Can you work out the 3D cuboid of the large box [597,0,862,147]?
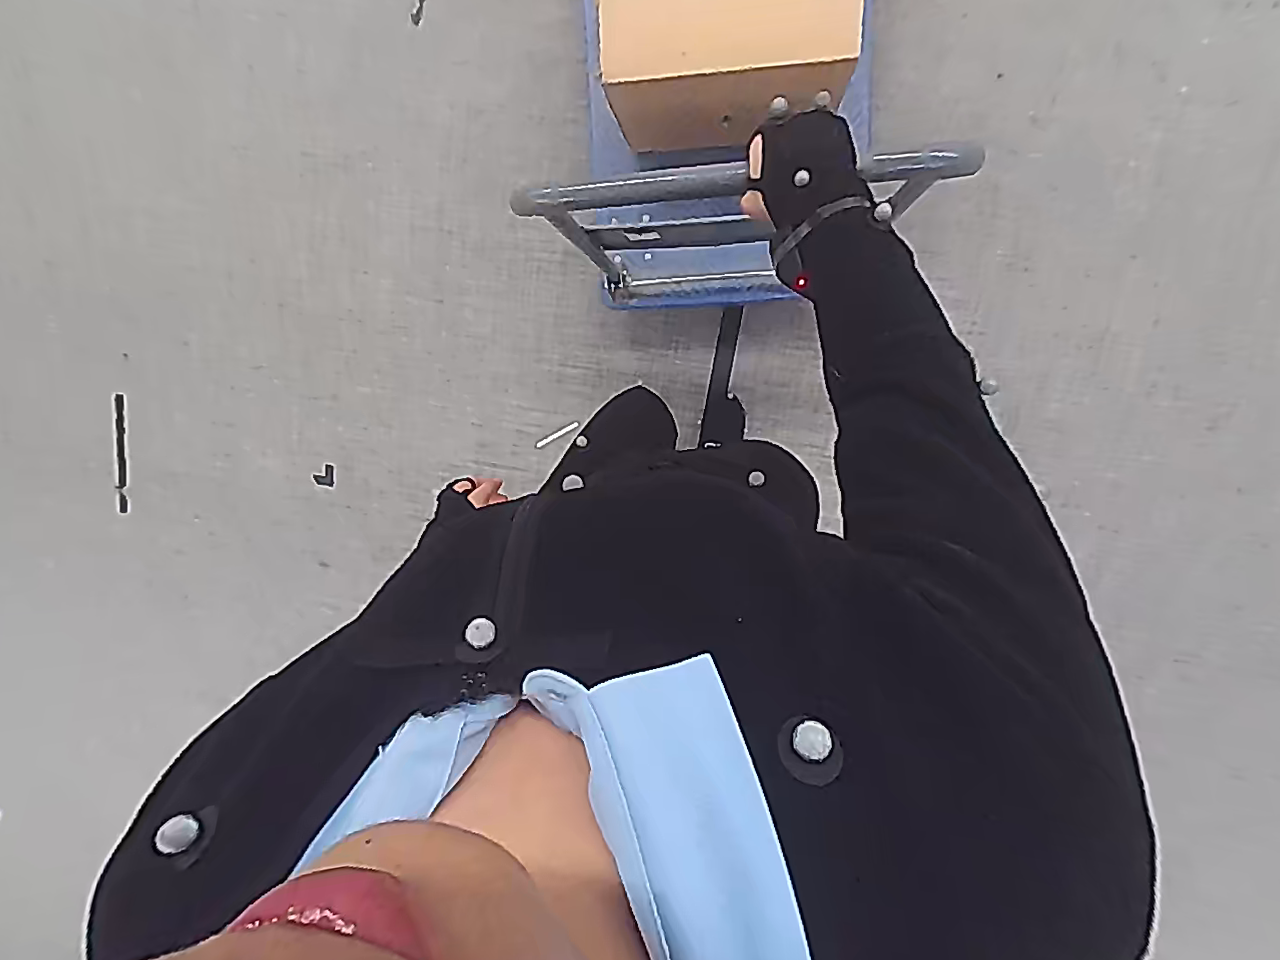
[{"bbox_3d":[0.153,-0.823,0.948,0.408,0.320,0.320,1,101,10],"label":"large box"}]
